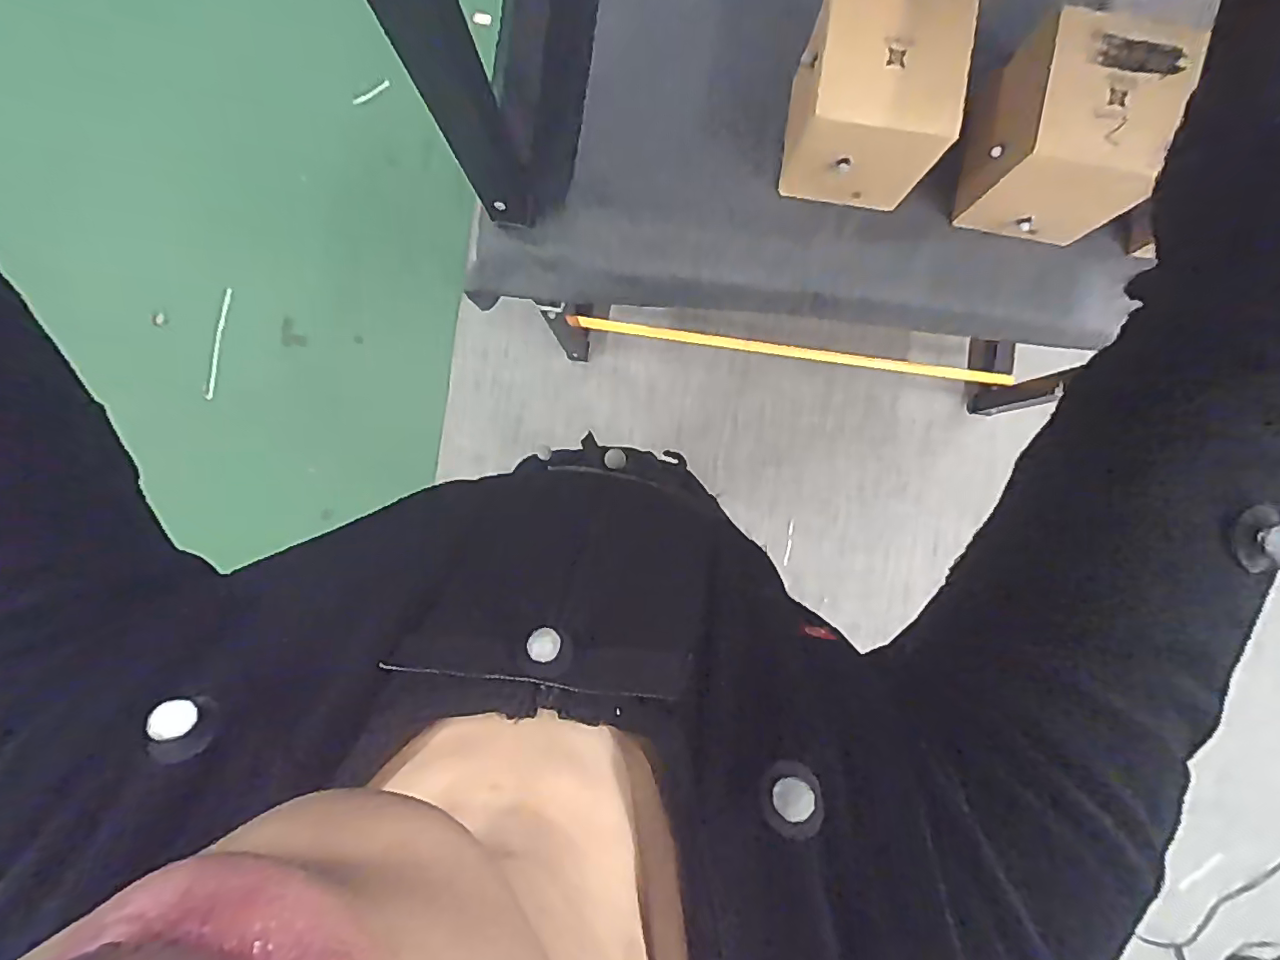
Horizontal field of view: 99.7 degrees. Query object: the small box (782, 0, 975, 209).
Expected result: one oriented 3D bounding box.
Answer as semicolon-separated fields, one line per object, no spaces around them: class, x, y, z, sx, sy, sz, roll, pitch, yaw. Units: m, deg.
small box;0.289;-0.479;0.694;0.168;0.176;0.179;8;88;0
